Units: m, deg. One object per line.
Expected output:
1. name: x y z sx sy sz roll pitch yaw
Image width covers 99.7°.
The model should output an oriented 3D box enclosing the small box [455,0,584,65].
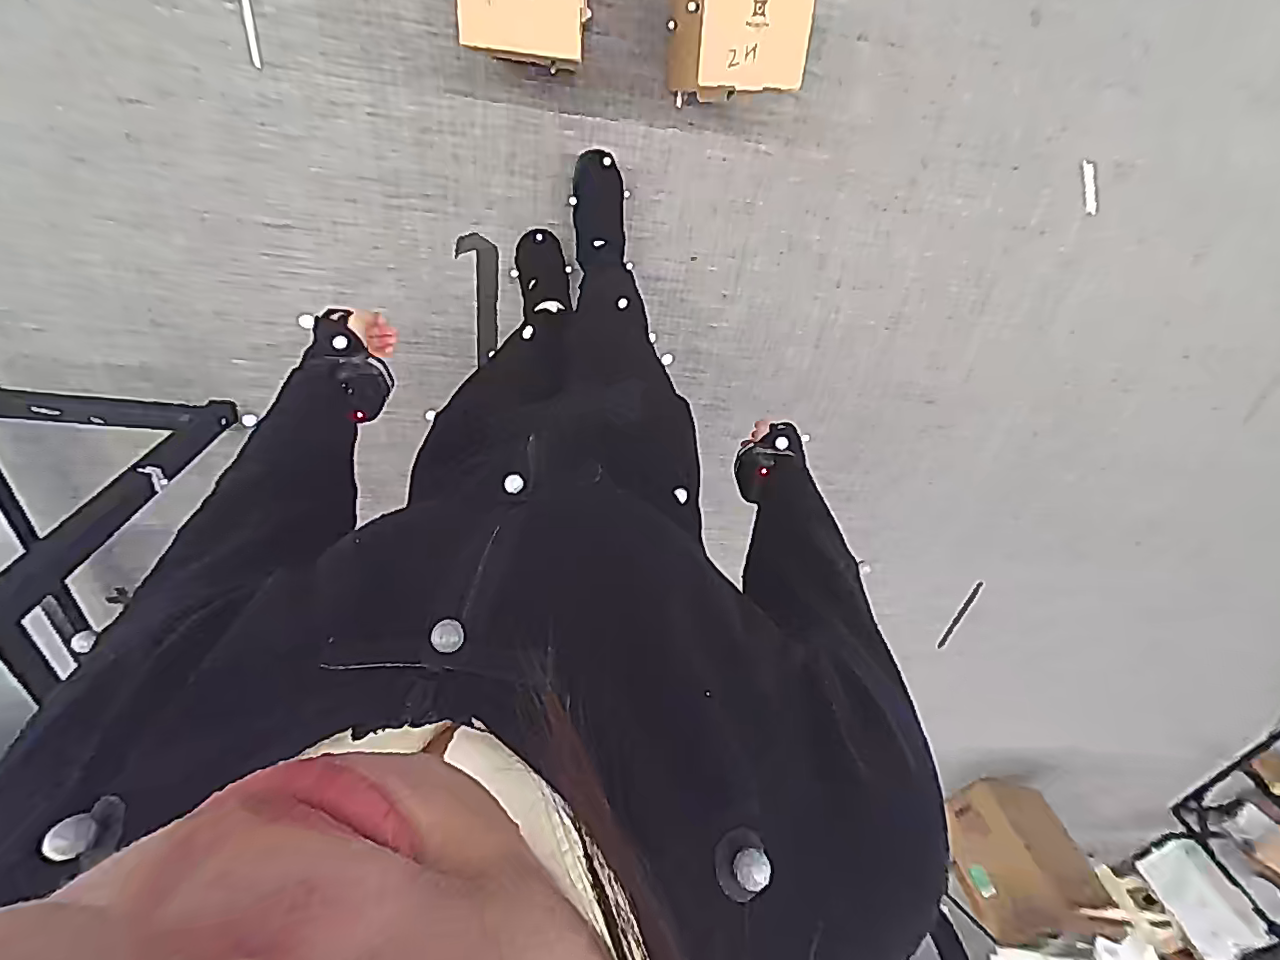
1. small box: -0.171 -0.725 0.794 0.179 0.176 0.168 3 124 -8

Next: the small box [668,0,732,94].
1. small box: 0.145 -0.809 0.979 0.168 0.176 0.179 -2 124 -6

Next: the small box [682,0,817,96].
1. small box: 0.163 -0.714 0.844 0.168 0.176 0.179 -1 125 -6
